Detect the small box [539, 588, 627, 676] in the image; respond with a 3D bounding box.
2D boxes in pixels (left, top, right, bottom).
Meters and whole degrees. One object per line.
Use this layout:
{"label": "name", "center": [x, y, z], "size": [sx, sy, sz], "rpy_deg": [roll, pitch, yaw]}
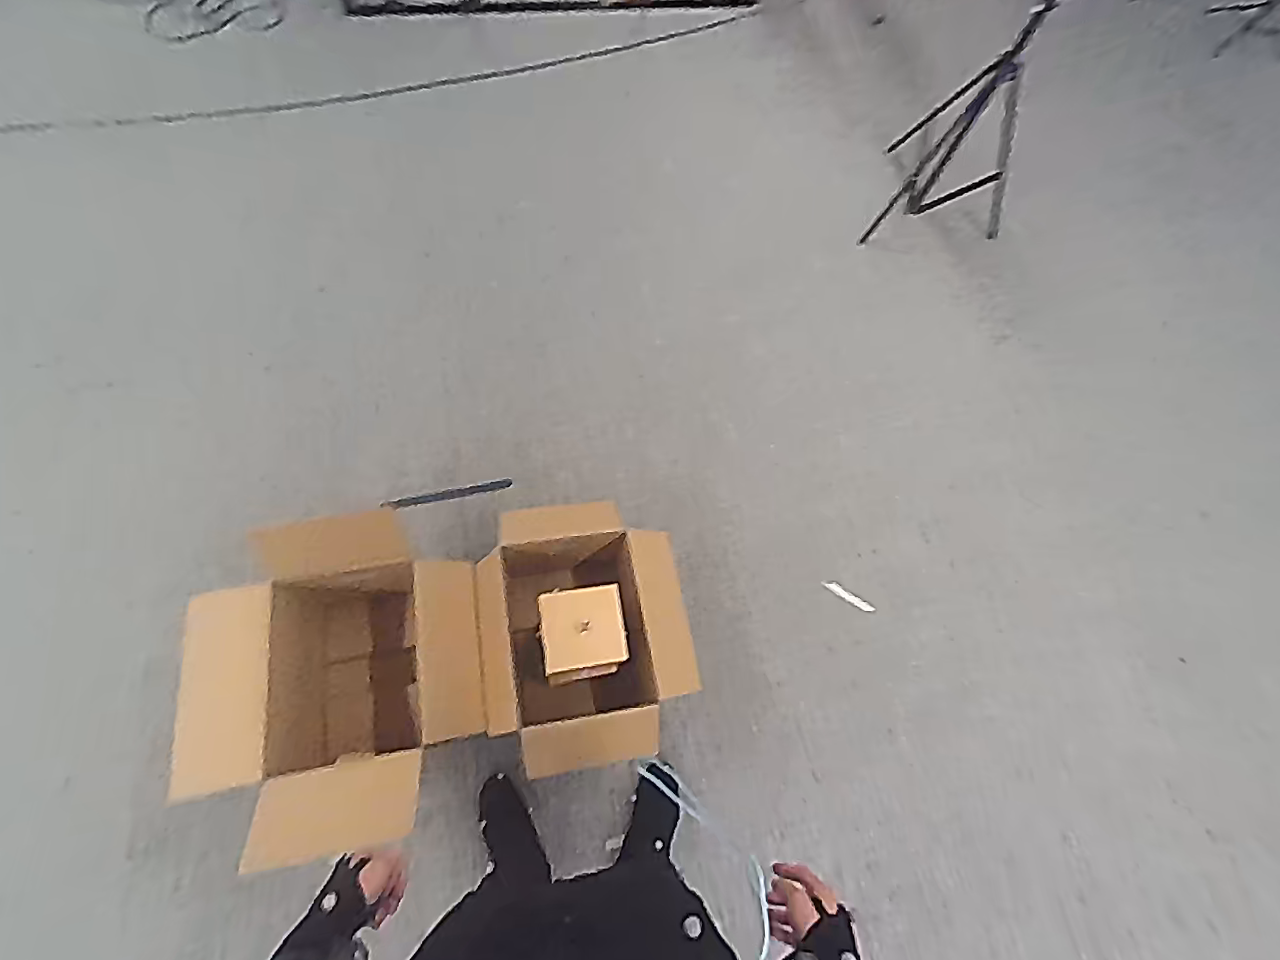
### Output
{"label": "small box", "center": [-0.137, 0.351, 1.241], "size": [0.179, 0.176, 0.168], "rpy_deg": [-6, 70, -12]}
